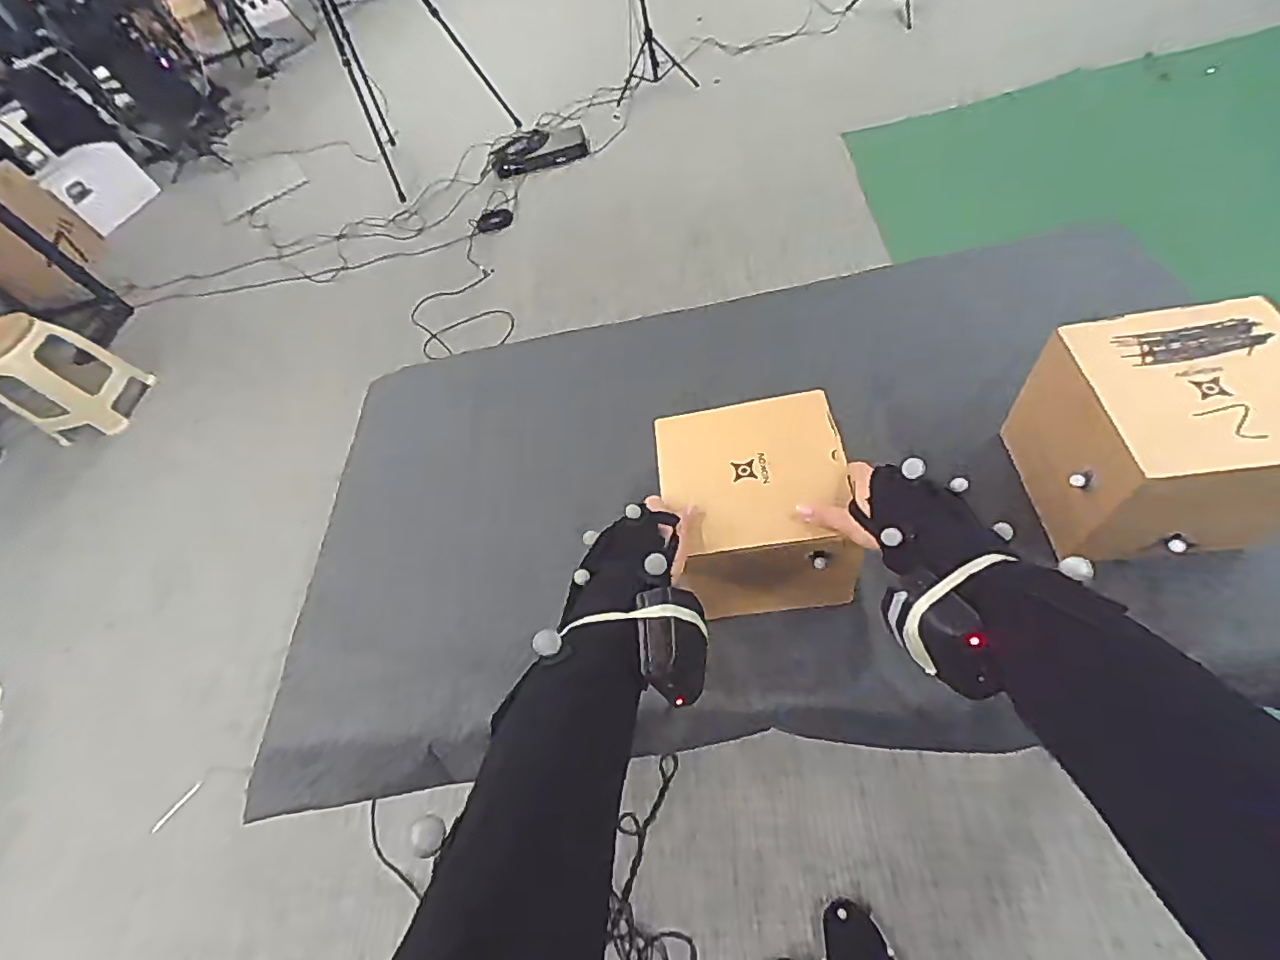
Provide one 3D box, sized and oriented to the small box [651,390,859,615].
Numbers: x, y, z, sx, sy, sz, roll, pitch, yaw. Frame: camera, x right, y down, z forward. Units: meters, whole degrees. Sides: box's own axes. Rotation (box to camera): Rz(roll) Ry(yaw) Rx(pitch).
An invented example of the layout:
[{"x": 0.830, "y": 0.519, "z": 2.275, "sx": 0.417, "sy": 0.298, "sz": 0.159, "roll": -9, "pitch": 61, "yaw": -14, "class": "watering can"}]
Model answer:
[{"x": 0.116, "y": 0.033, "z": 0.574, "sx": 0.179, "sy": 0.176, "sz": 0.168, "roll": -9, "pitch": 55, "yaw": 9, "class": "small box"}]
